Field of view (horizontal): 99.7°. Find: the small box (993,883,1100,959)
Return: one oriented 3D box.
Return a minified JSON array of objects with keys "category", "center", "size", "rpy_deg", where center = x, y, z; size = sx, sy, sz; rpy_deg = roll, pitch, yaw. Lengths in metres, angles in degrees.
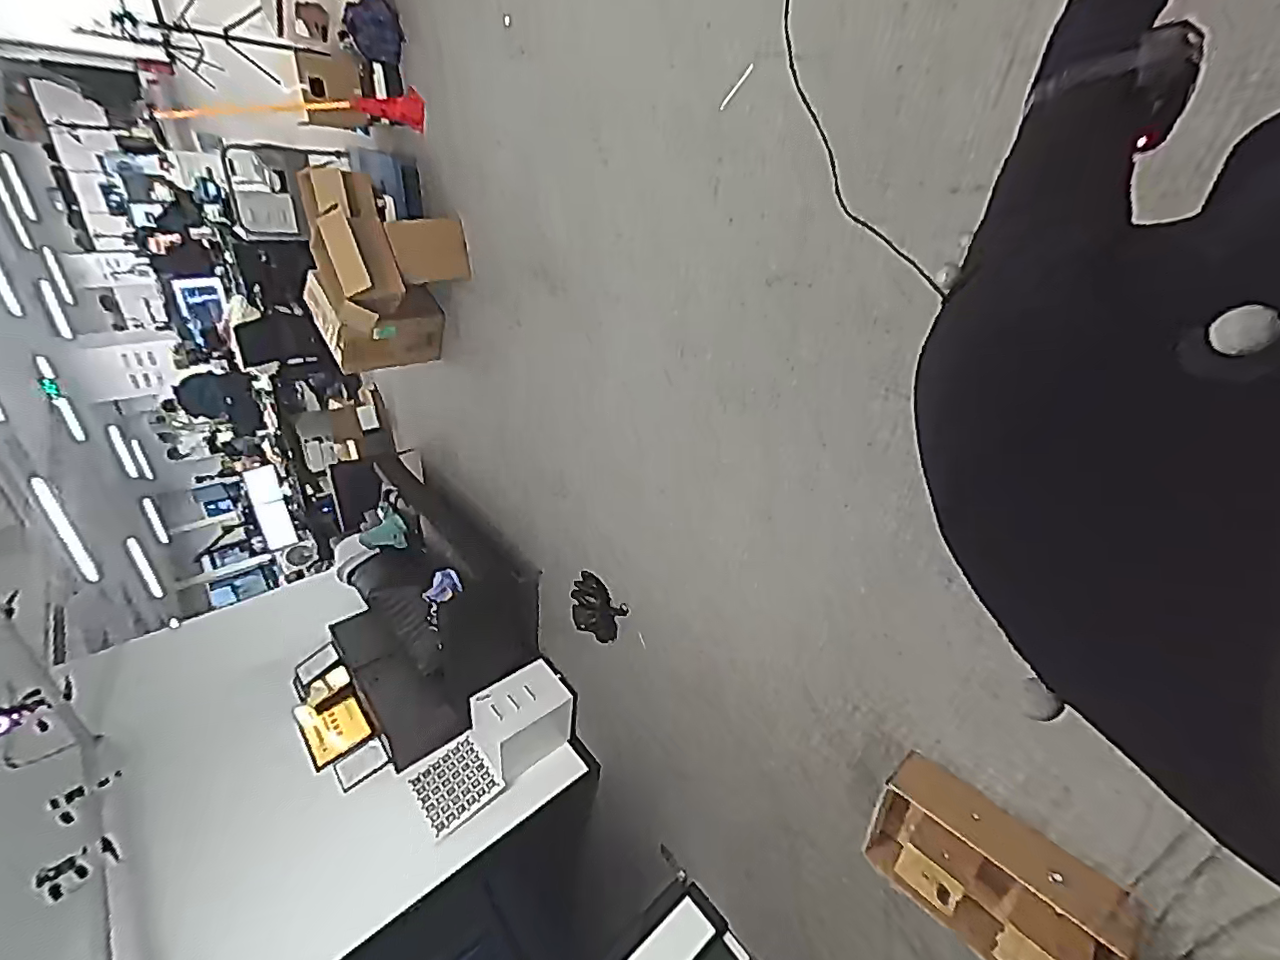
[{"category":"small box","center":[1.121,1.268,1.493],"size":[0.179,0.176,0.168],"rpy_deg":[26,127,44]}]

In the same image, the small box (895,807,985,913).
[{"category":"small box","center":[0.933,1.171,1.679],"size":[0.179,0.176,0.168],"rpy_deg":[29,128,41]}]
